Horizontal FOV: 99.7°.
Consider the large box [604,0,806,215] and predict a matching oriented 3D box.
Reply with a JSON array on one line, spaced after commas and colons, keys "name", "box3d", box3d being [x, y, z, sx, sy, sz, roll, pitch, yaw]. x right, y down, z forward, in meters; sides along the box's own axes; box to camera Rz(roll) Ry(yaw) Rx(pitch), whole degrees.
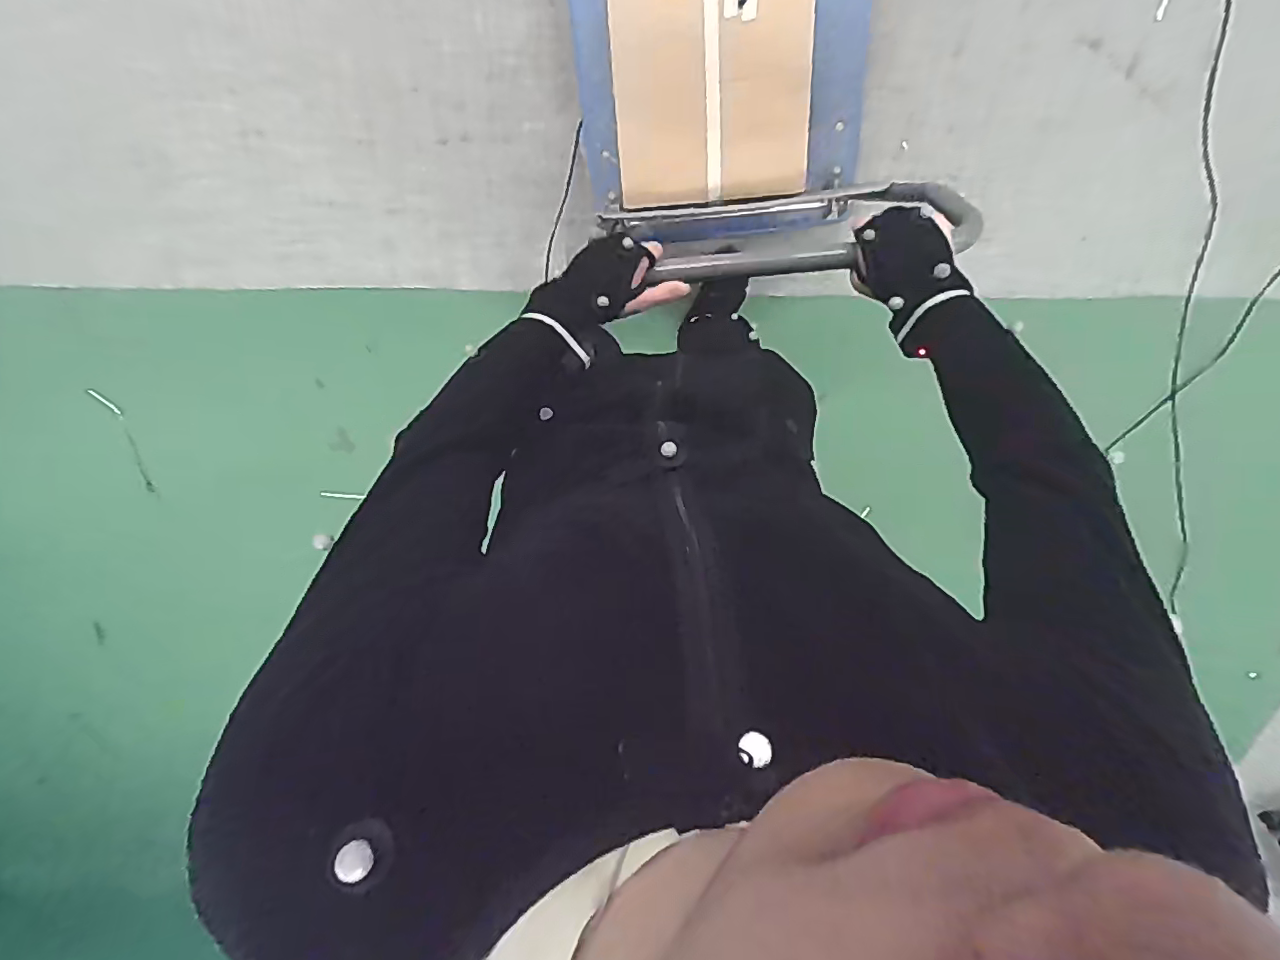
[{"name": "large box", "box3d": [0.117, -0.729, 0.998, 0.320, 0.320, 0.408, -3, 115, 5]}]
